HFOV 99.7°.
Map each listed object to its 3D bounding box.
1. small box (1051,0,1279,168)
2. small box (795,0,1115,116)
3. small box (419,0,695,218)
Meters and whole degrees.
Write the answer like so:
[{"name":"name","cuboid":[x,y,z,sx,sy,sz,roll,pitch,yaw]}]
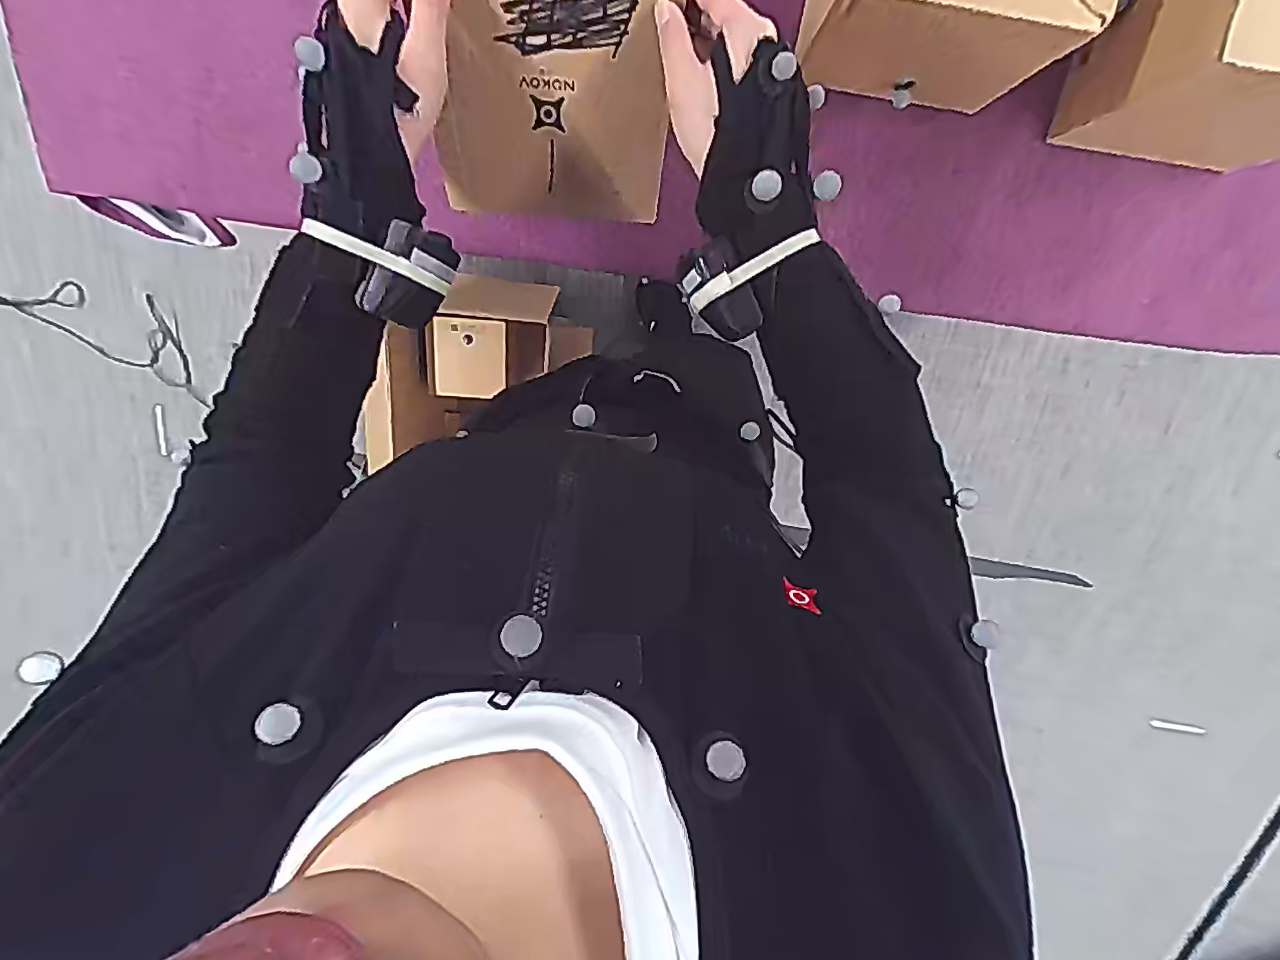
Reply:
[{"name":"small box","cuboid":[0.476,-0.357,0.409,0.179,0.176,0.168,10,106,0]},{"name":"small box","cuboid":[0.237,-0.408,0.406,0.179,0.176,0.168,10,107,1]},{"name":"small box","cuboid":[-0.057,-0.330,0.401,0.168,0.176,0.179,2,151,-6]}]
